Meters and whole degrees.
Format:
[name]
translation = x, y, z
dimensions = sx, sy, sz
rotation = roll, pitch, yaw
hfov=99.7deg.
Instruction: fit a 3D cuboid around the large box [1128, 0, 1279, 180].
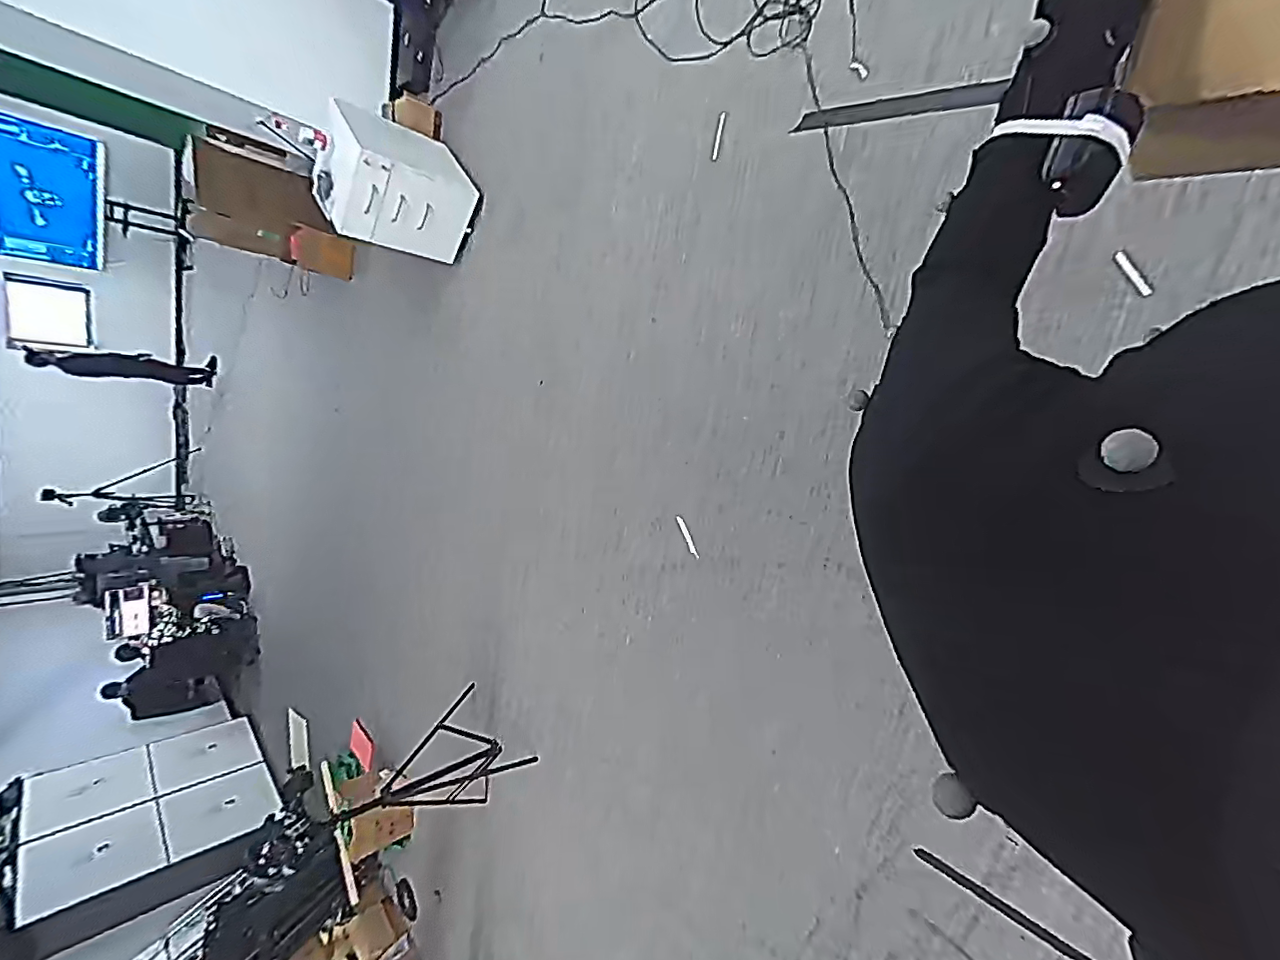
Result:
[large box]
translation = 0.613, -0.418, 0.346
dimensions = 0.408, 0.320, 0.320
rotation = 16, 114, 39
